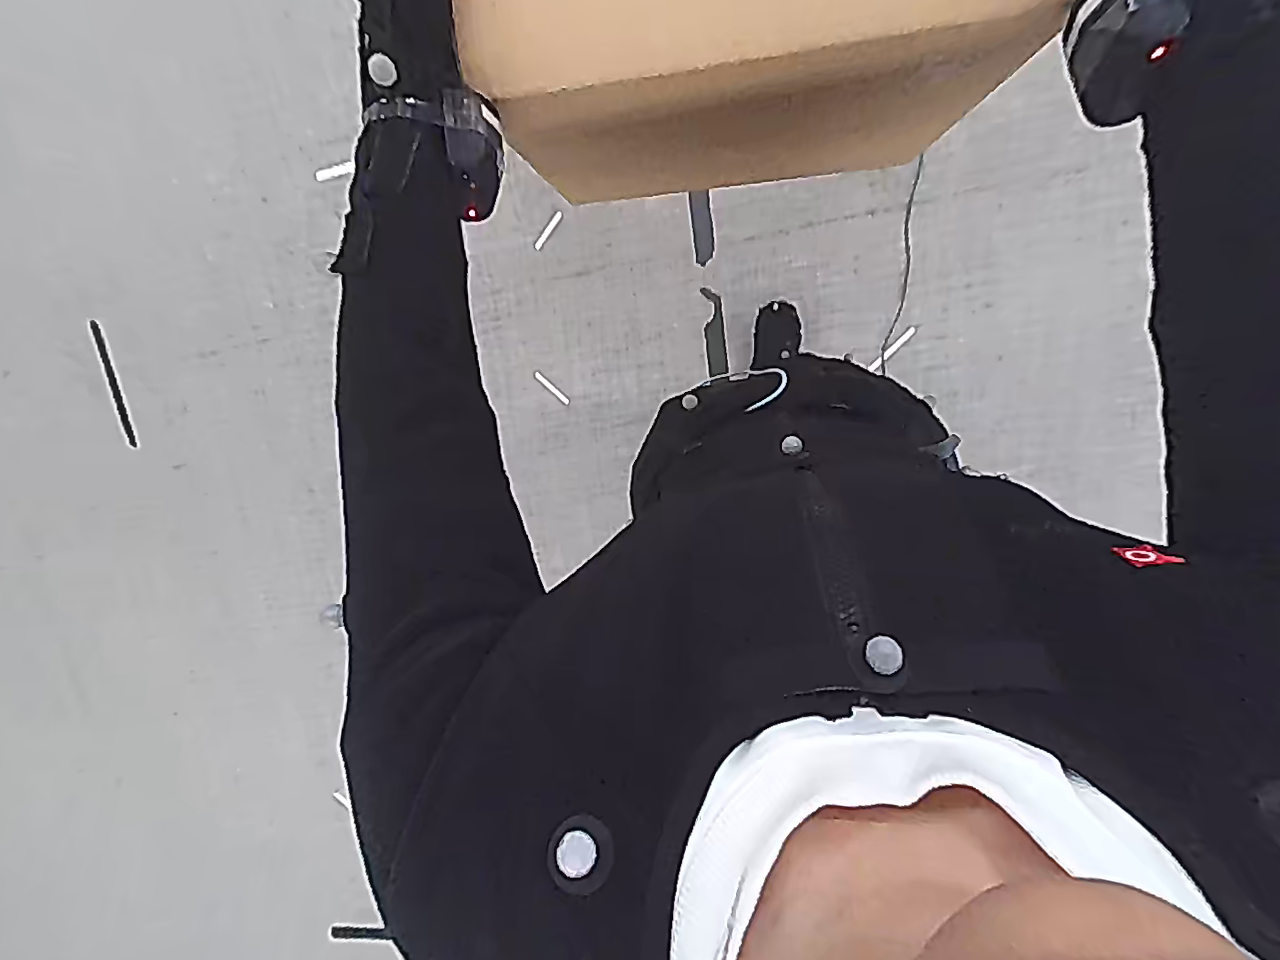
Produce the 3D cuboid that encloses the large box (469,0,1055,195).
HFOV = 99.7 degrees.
[{"bbox_3d":[0.081,-0.476,0.466,0.408,0.320,0.320,-4,105,7],"label":"large box"}]
